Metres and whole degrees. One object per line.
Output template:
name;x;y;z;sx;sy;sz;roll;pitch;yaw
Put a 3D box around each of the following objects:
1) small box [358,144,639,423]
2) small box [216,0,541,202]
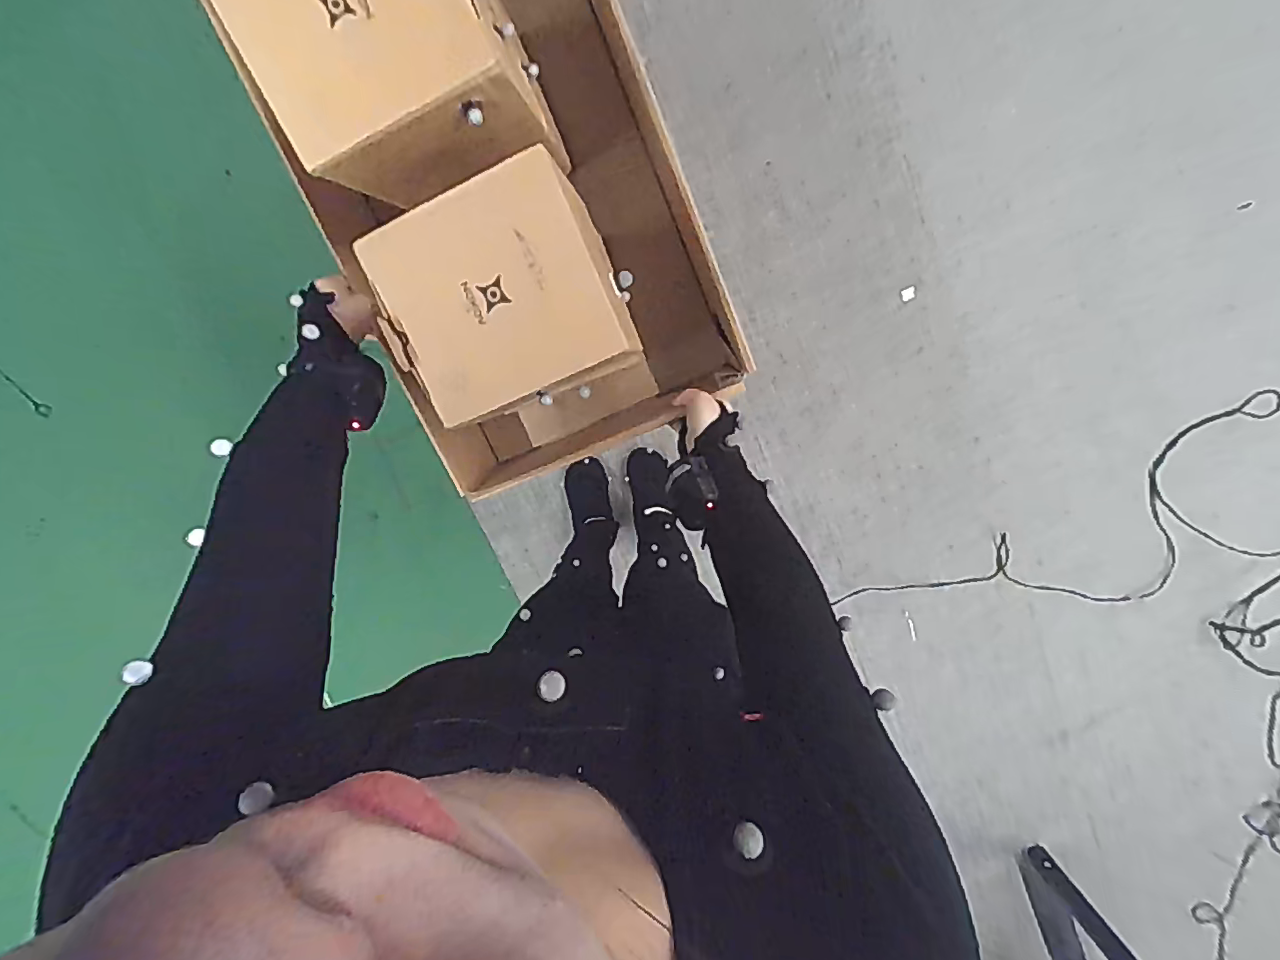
small box;-0.112;-0.168;0.512;0.179;0.176;0.168;-22;102;9
small box;-0.209;-0.368;0.465;0.179;0.176;0.168;-24;105;8
